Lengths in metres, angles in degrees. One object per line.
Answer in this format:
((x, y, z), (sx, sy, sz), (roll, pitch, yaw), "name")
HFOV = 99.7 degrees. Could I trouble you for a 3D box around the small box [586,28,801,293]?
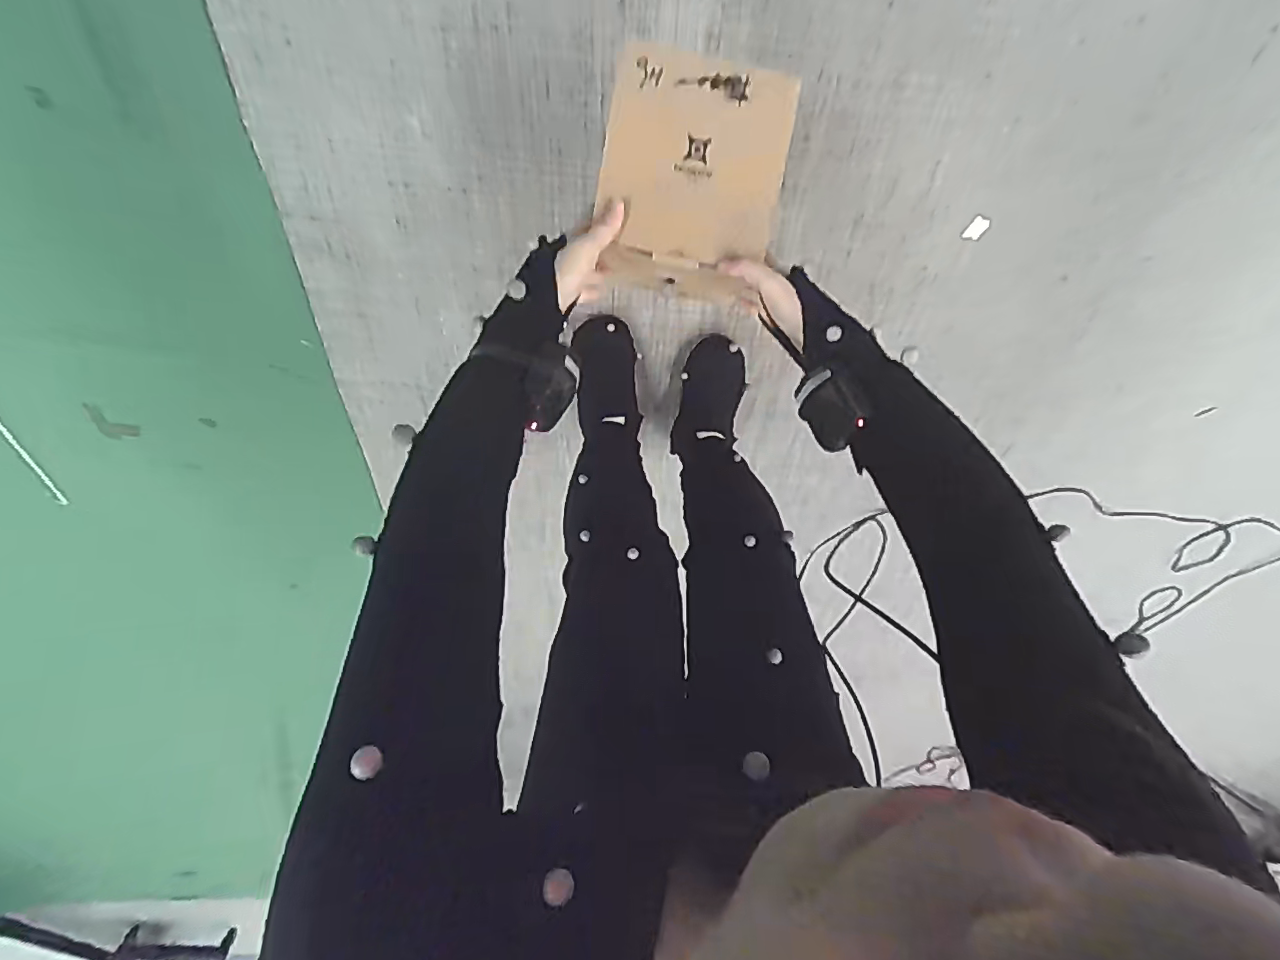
((0.047, -0.307, 0.563), (0.168, 0.176, 0.179), (11, 99, -2), "small box")
